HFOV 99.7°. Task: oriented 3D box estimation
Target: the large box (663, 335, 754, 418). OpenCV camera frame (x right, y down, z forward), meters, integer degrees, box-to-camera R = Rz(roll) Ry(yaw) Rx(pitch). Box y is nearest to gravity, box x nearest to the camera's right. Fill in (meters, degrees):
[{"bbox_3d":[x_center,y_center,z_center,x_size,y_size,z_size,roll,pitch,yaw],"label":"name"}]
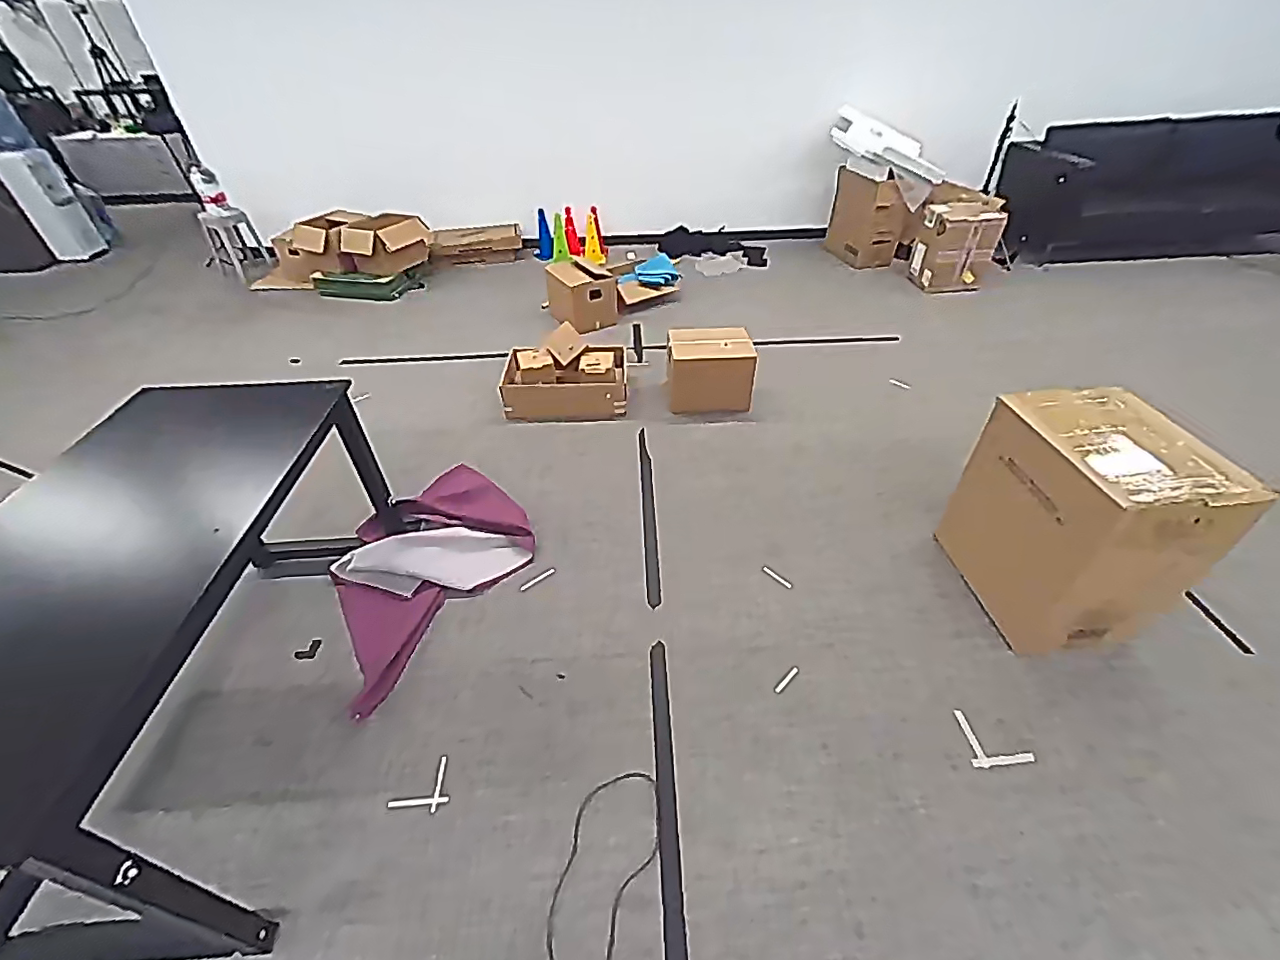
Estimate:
[{"bbox_3d":[0.335,-0.532,2.765,0.408,0.320,0.320,-2,41,-3],"label":"large box"}]
